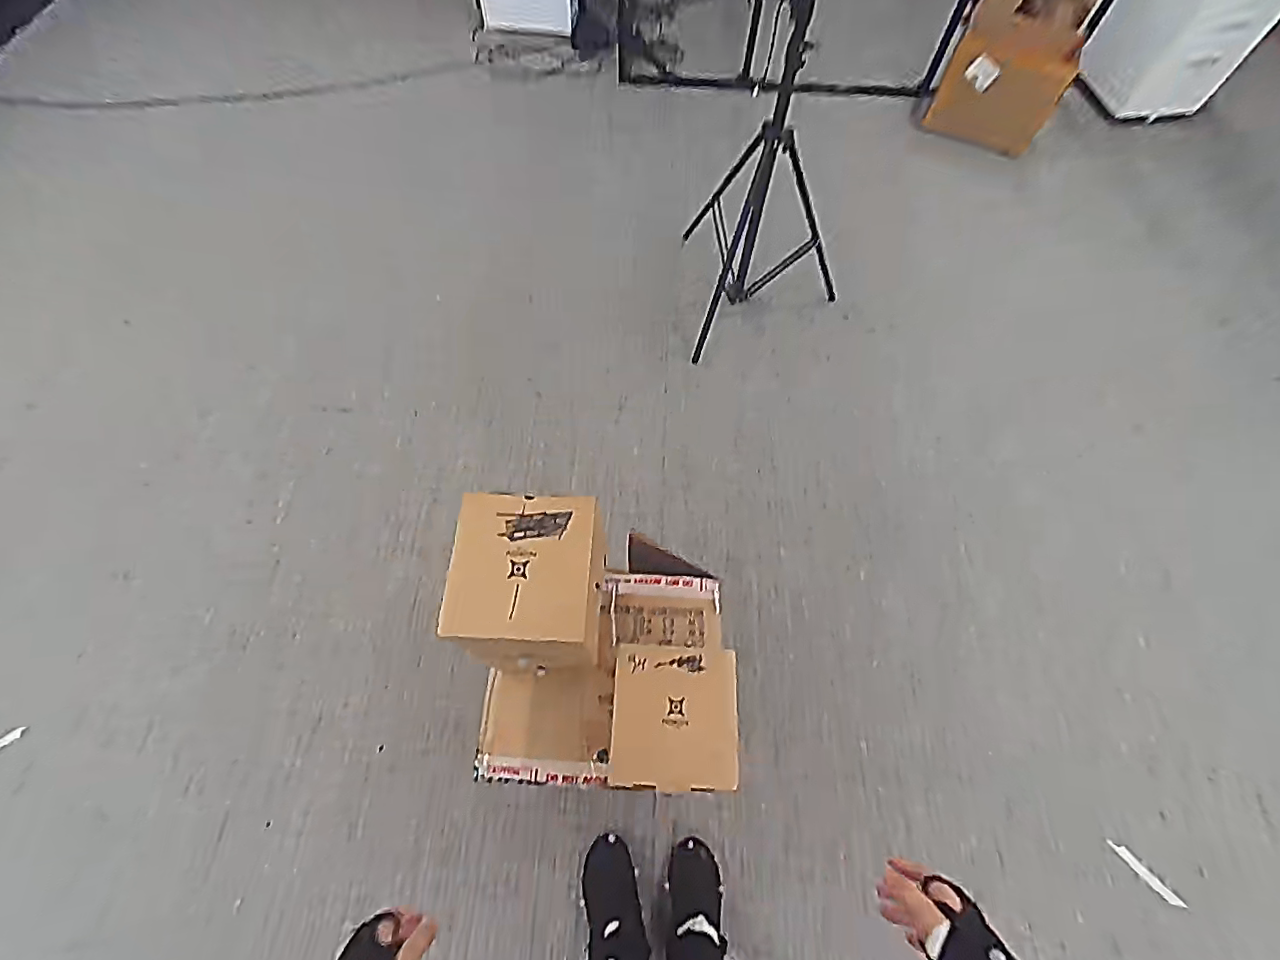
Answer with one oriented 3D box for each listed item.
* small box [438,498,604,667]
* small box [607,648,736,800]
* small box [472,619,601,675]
[{"bbox_3d":[-0.137,0.138,0.699,0.168,0.176,0.179,2,65,2],"label":"small box"},{"bbox_3d":[0.043,0.348,0.782,0.168,0.176,0.179,3,65,0],"label":"small box"},{"bbox_3d":[-0.151,0.205,0.849,0.168,0.176,0.179,-1,65,0],"label":"small box"}]
